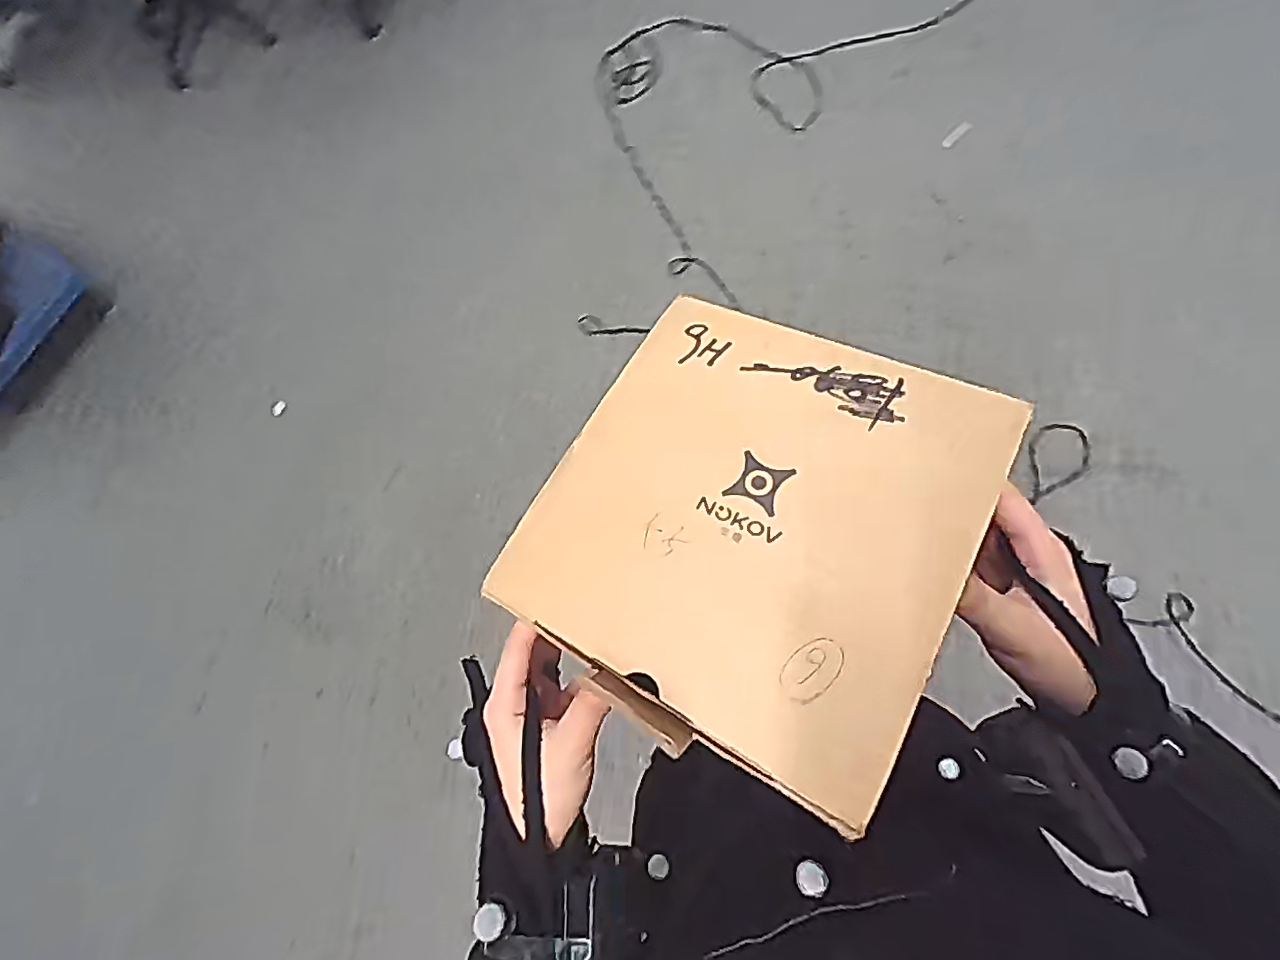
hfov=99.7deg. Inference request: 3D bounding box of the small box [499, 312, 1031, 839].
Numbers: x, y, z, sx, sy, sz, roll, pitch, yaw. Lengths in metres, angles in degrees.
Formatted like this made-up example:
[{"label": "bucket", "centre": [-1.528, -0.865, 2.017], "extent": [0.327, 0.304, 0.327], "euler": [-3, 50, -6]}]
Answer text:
[{"label": "small box", "centre": [0.064, 0.048, 0.298], "extent": [0.168, 0.176, 0.179], "euler": [27, 74, 22]}]
